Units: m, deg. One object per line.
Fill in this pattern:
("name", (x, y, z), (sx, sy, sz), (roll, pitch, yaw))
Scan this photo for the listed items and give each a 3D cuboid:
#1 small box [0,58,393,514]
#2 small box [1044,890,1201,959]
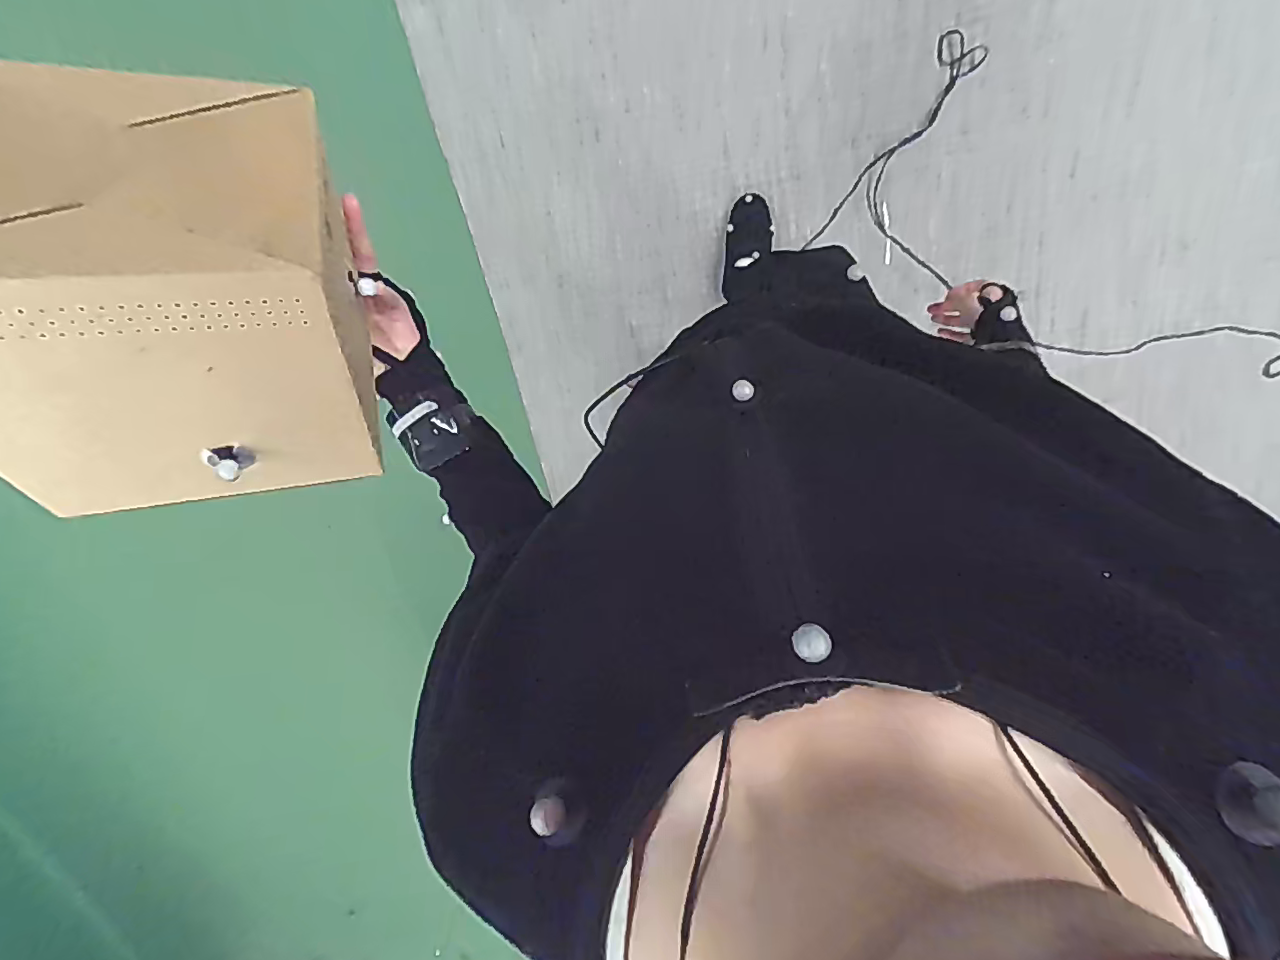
("small box", (-0.255, -0.104, 0.305), (0.179, 0.168, 0.176), (-9, 150, -20))
("small box", (0.899, 0.894, 0.989), (0.179, 0.176, 0.168), (3, 112, 6))
